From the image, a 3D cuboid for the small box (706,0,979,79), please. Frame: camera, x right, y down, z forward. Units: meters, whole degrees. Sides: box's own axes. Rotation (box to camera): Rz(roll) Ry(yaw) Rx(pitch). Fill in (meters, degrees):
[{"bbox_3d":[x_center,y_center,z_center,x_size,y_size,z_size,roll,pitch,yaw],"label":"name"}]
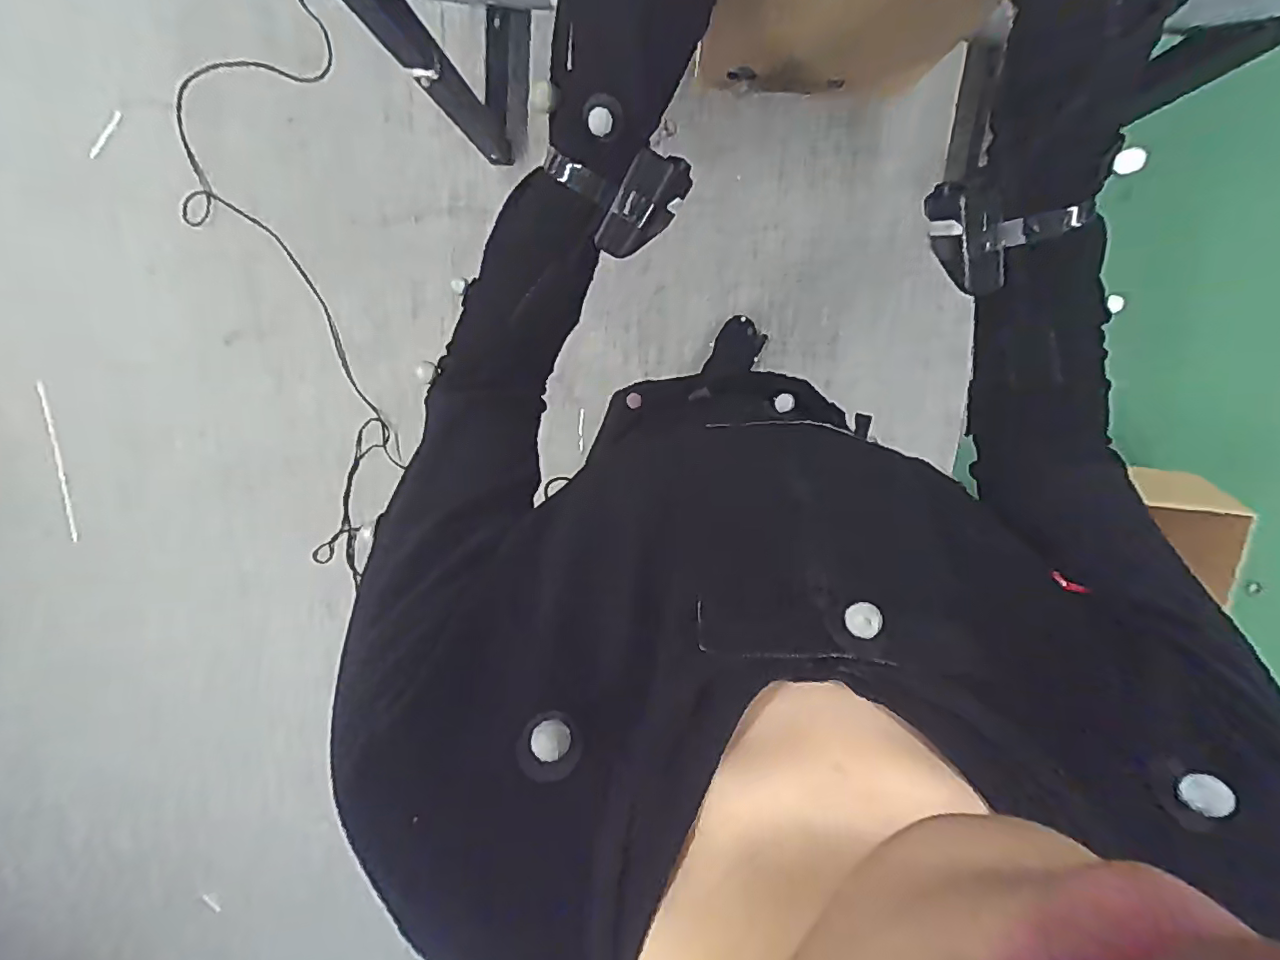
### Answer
[{"bbox_3d":[0.131,-0.370,0.316,0.168,0.176,0.179,3,104,1],"label":"small box"}]
